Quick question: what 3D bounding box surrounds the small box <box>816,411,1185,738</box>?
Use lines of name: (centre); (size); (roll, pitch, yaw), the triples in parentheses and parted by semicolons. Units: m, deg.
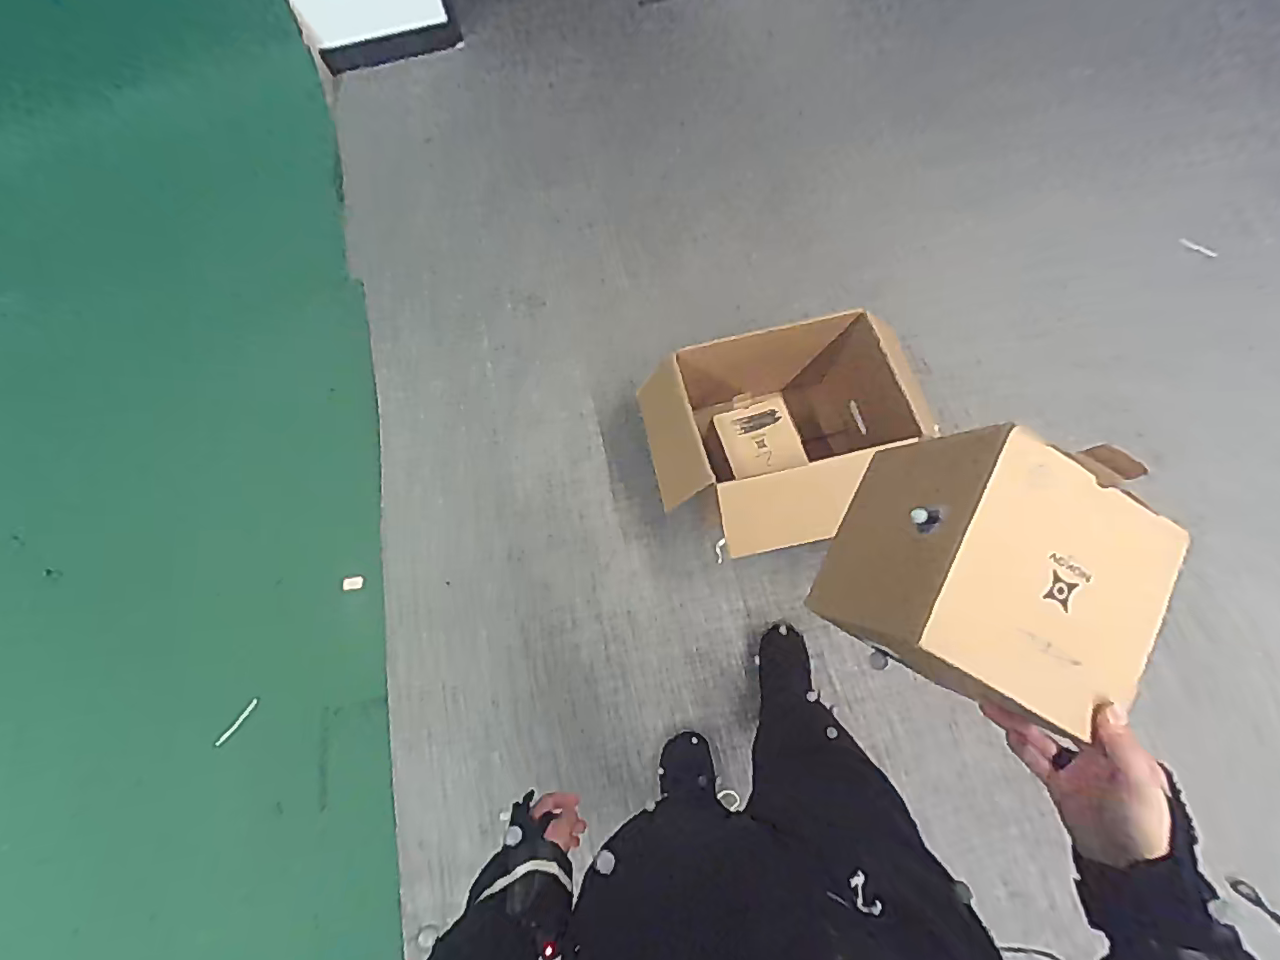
small box: (0.280, 0.071, 0.456); (0.168, 0.176, 0.179); (31, 80, -6)
